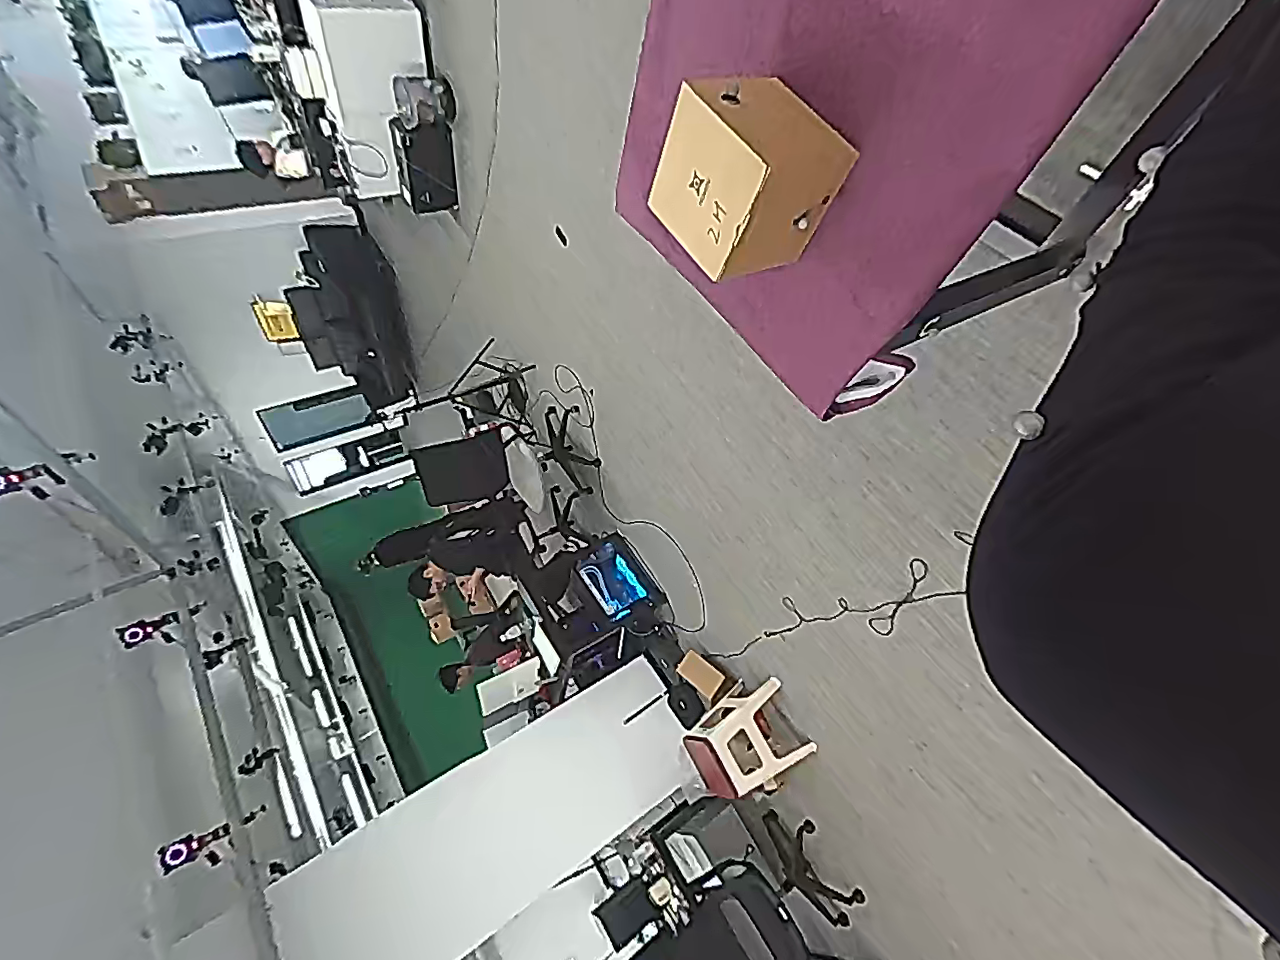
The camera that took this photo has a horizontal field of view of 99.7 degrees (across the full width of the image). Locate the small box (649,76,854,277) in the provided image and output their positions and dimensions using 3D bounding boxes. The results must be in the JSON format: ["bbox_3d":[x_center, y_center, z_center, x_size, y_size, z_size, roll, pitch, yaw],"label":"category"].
[{"bbox_3d":[0.143,-0.408,0.730,0.179,0.176,0.168,56,151,18],"label":"small box"}]
